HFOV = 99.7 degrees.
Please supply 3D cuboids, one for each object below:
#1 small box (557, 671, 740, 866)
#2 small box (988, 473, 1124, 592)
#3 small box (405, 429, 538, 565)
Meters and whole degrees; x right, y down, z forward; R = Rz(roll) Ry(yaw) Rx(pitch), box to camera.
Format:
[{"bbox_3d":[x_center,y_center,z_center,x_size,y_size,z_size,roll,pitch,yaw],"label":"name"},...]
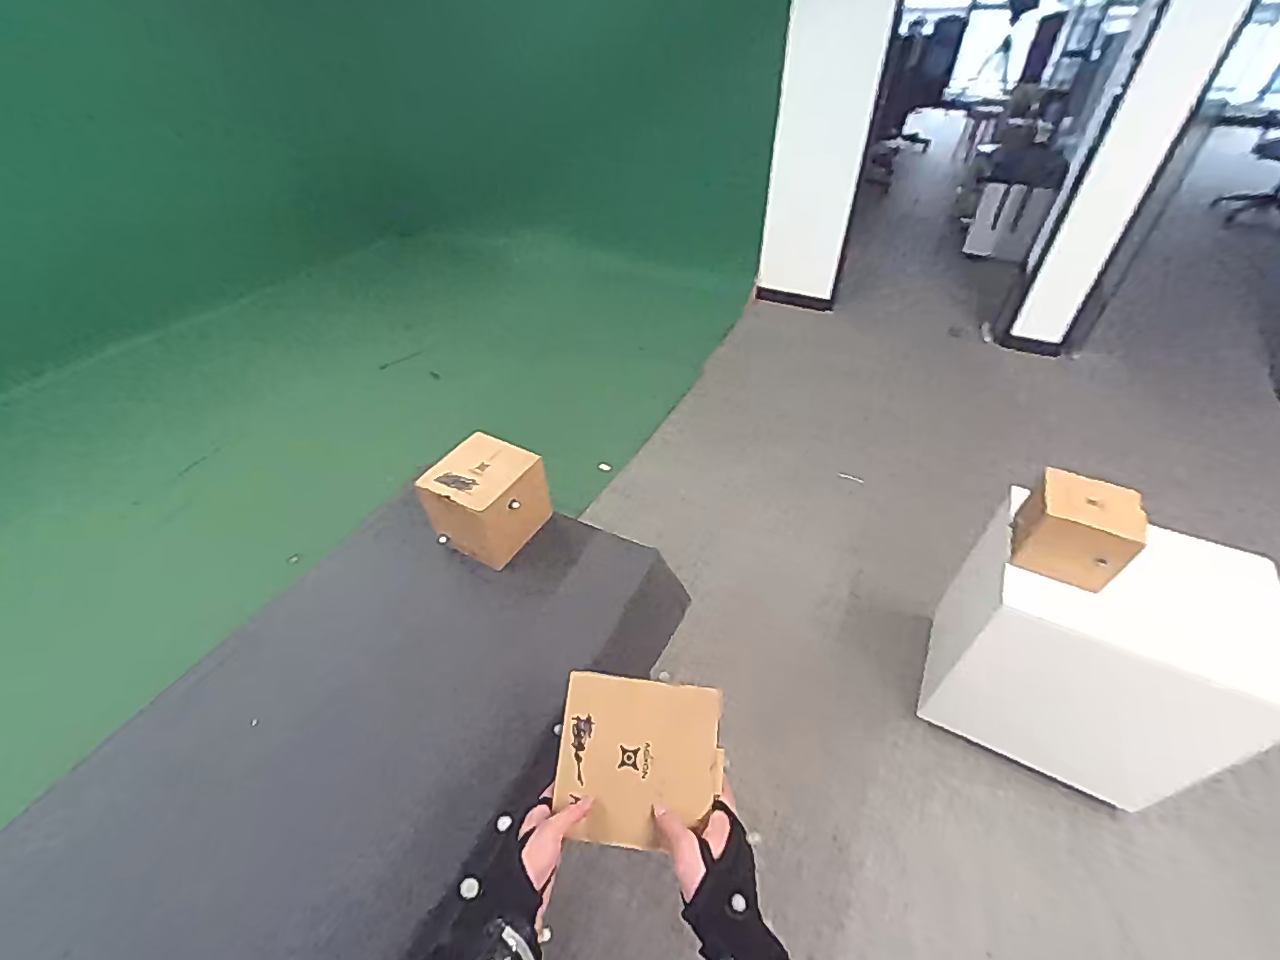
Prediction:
[{"bbox_3d":[0.015,0.326,0.641,0.179,0.176,0.168,6,68,5],"label":"small box"},{"bbox_3d":[0.903,0.119,1.190,0.179,0.176,0.168,19,44,18],"label":"small box"},{"bbox_3d":[-0.314,0.035,1.049,0.168,0.176,0.179,22,46,20],"label":"small box"}]
